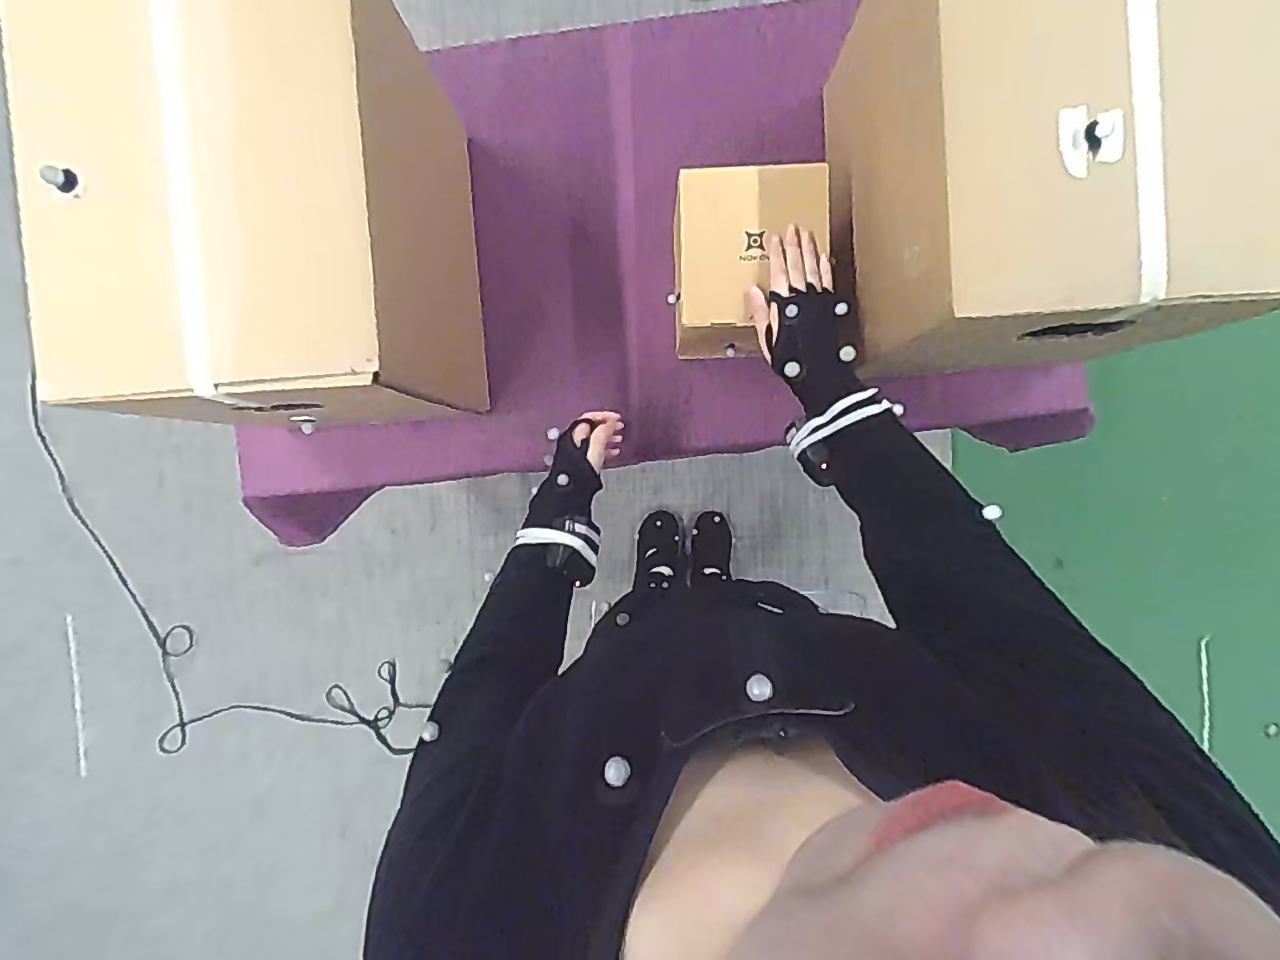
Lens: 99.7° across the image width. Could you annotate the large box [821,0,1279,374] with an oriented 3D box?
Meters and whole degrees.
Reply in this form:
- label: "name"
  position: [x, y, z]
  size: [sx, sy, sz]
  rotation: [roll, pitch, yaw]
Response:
- label: "large box"
  position: [0.412, -0.350, 0.607]
  size: [0.320, 0.320, 0.408]
  rotation: [-3, 92, 2]
